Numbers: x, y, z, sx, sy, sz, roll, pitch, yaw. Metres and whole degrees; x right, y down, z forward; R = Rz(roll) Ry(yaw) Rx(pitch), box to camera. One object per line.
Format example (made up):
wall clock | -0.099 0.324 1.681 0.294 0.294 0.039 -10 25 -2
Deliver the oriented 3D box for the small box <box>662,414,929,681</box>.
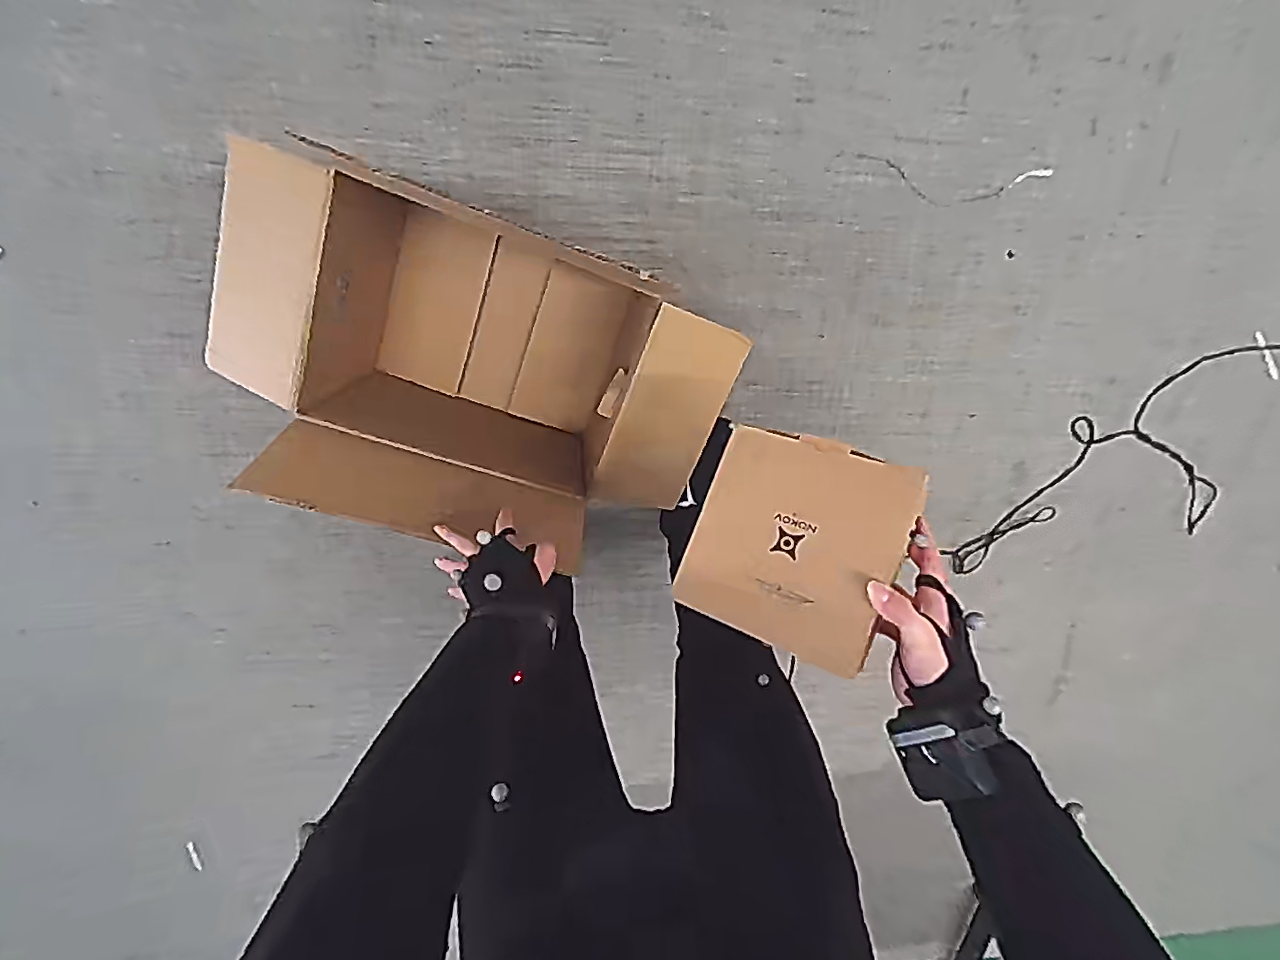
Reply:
small box | 0.152 0.064 0.509 0.176 0.168 0.179 29 83 -59
